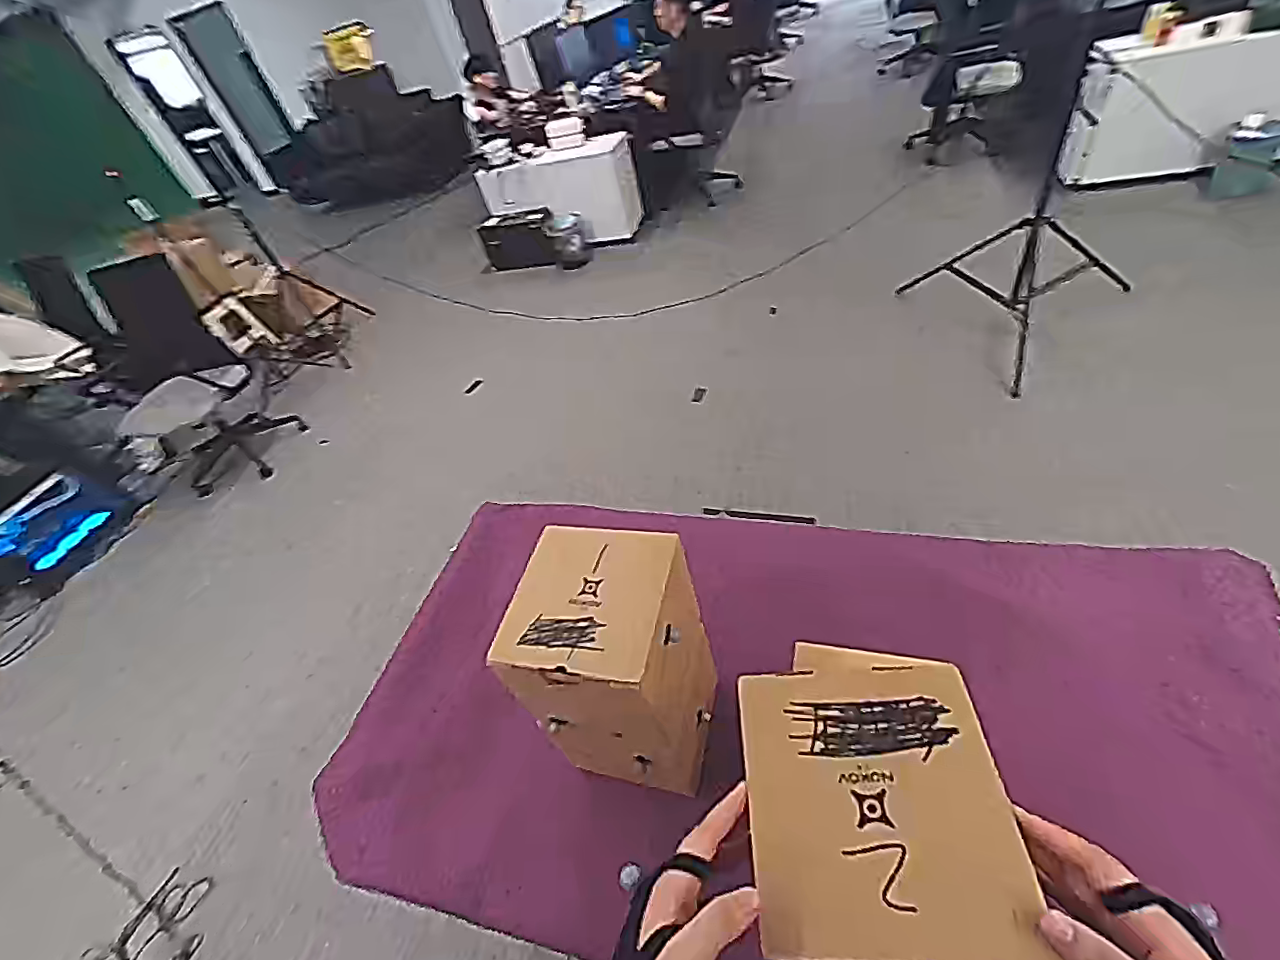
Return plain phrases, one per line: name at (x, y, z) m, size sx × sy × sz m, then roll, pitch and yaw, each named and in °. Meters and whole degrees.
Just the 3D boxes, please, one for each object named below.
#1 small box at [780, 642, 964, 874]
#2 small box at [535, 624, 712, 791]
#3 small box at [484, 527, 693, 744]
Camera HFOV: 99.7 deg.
small box at (0.255, 0.316, 0.621) m, size 0.168 × 0.176 × 0.179 m, roll 3°, pitch 47°, yaw 20°
small box at (-0.007, 0.294, 0.724) m, size 0.179 × 0.176 × 0.168 m, roll 3°, pitch 47°, yaw 20°
small box at (-0.041, 0.175, 0.615) m, size 0.168 × 0.176 × 0.179 m, roll 2°, pitch 47°, yaw 18°
